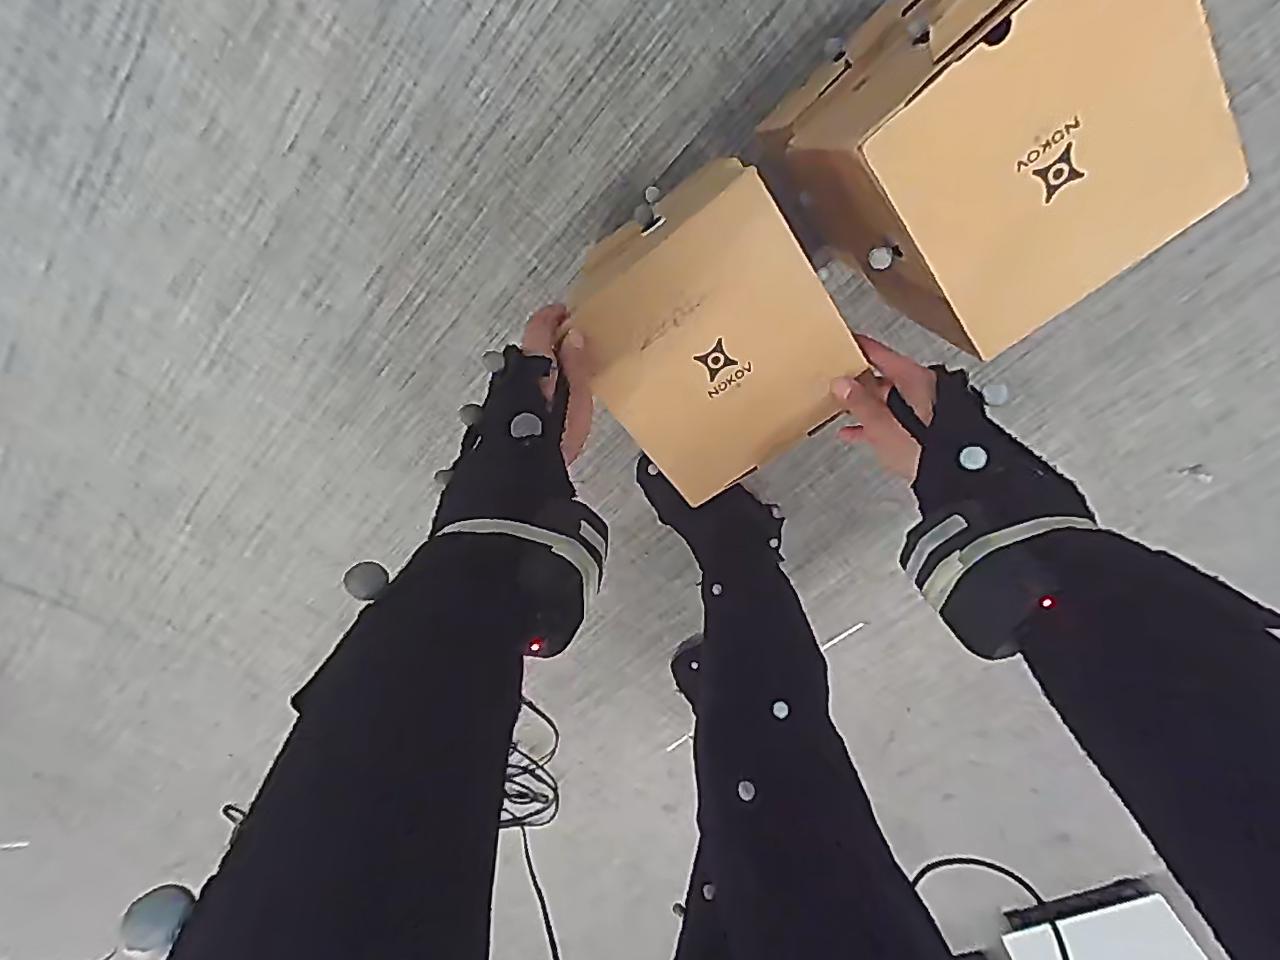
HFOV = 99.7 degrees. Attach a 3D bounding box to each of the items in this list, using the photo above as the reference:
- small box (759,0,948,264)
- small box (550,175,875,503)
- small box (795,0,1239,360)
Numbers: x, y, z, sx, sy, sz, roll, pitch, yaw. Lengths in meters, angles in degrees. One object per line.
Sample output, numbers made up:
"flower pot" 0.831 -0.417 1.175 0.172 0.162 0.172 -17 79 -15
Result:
"small box" 0.237 -0.322 0.515 0.168 0.176 0.179 -38 114 18
"small box" 0.053 -0.120 0.443 0.168 0.176 0.179 -35 114 16
"small box" 0.240 -0.223 0.384 0.168 0.176 0.179 -38 114 19
